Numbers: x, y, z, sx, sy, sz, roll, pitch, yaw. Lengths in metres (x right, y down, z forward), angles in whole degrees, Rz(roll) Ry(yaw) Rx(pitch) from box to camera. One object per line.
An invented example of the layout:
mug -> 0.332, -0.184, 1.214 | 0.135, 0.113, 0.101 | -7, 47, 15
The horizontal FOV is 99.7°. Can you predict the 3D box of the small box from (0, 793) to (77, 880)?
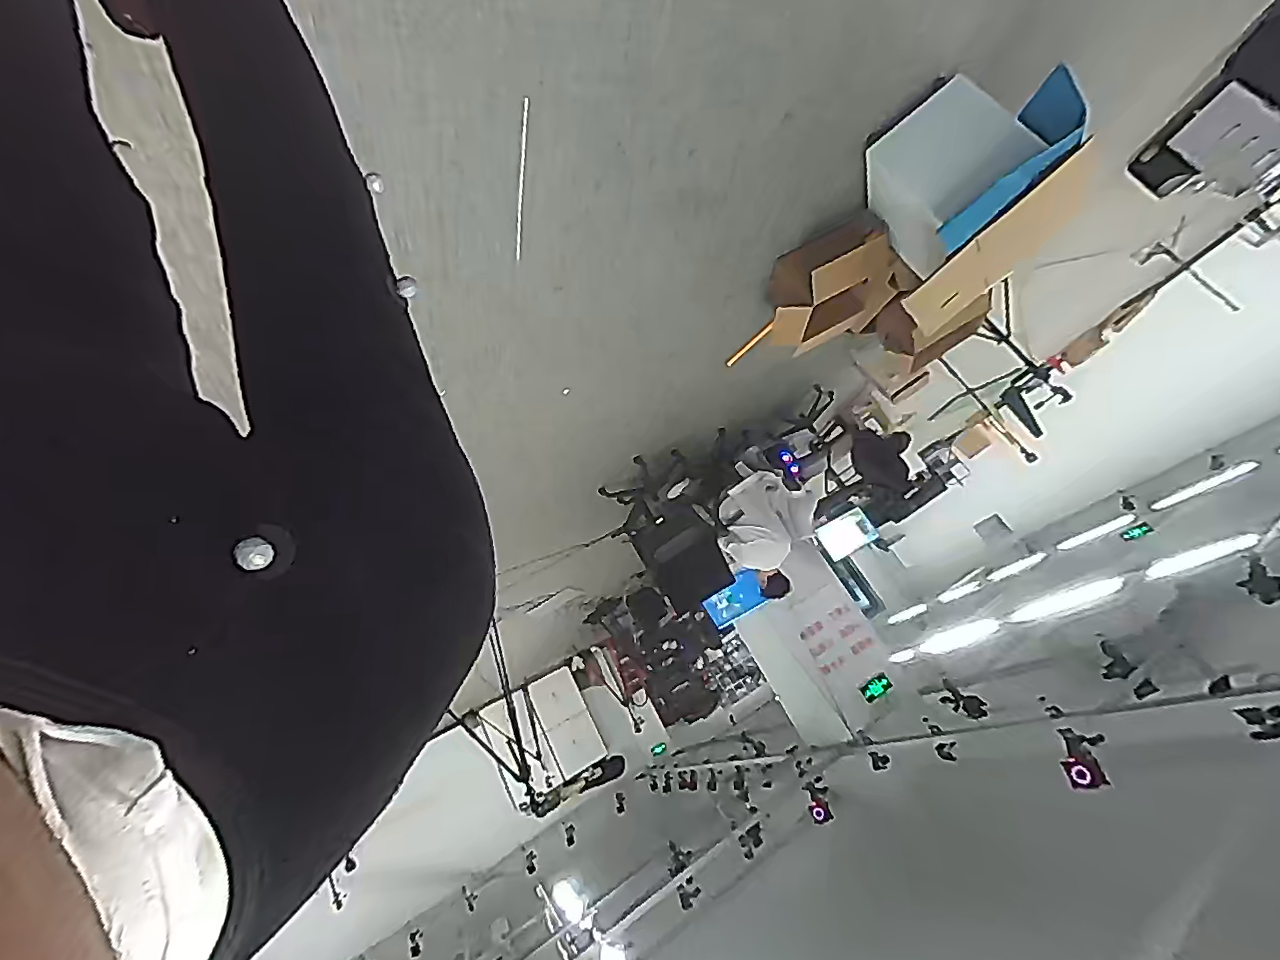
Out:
small box -> -1.826, 1.047, 1.589 | 0.168, 0.176, 0.179 | -23, 159, -21
